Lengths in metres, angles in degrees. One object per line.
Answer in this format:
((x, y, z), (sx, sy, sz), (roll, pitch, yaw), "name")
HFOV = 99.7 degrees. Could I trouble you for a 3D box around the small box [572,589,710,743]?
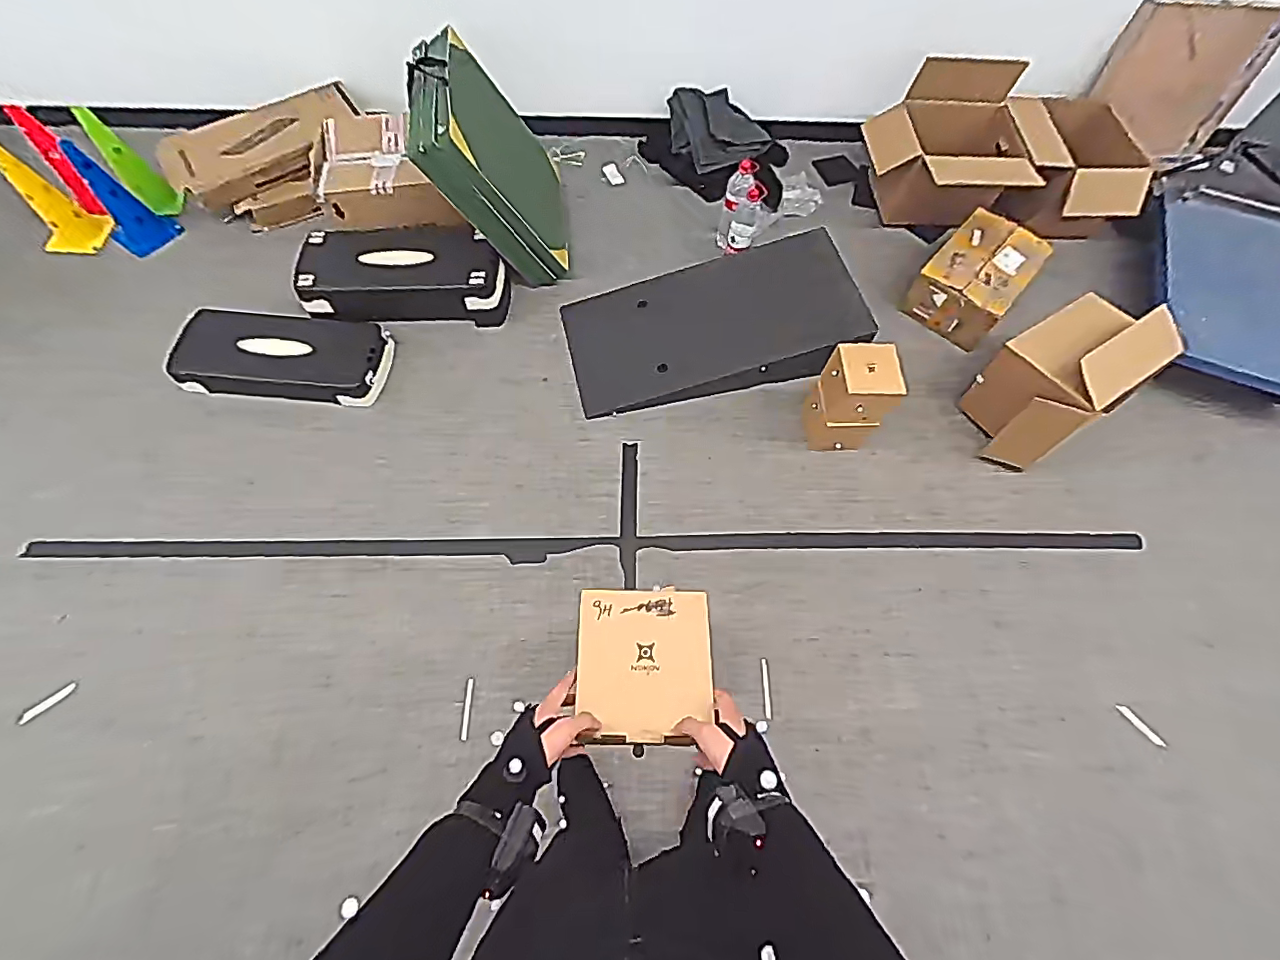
((-0.001, 0.259, 0.736), (0.168, 0.176, 0.179), (3, 62, -4), "small box")
